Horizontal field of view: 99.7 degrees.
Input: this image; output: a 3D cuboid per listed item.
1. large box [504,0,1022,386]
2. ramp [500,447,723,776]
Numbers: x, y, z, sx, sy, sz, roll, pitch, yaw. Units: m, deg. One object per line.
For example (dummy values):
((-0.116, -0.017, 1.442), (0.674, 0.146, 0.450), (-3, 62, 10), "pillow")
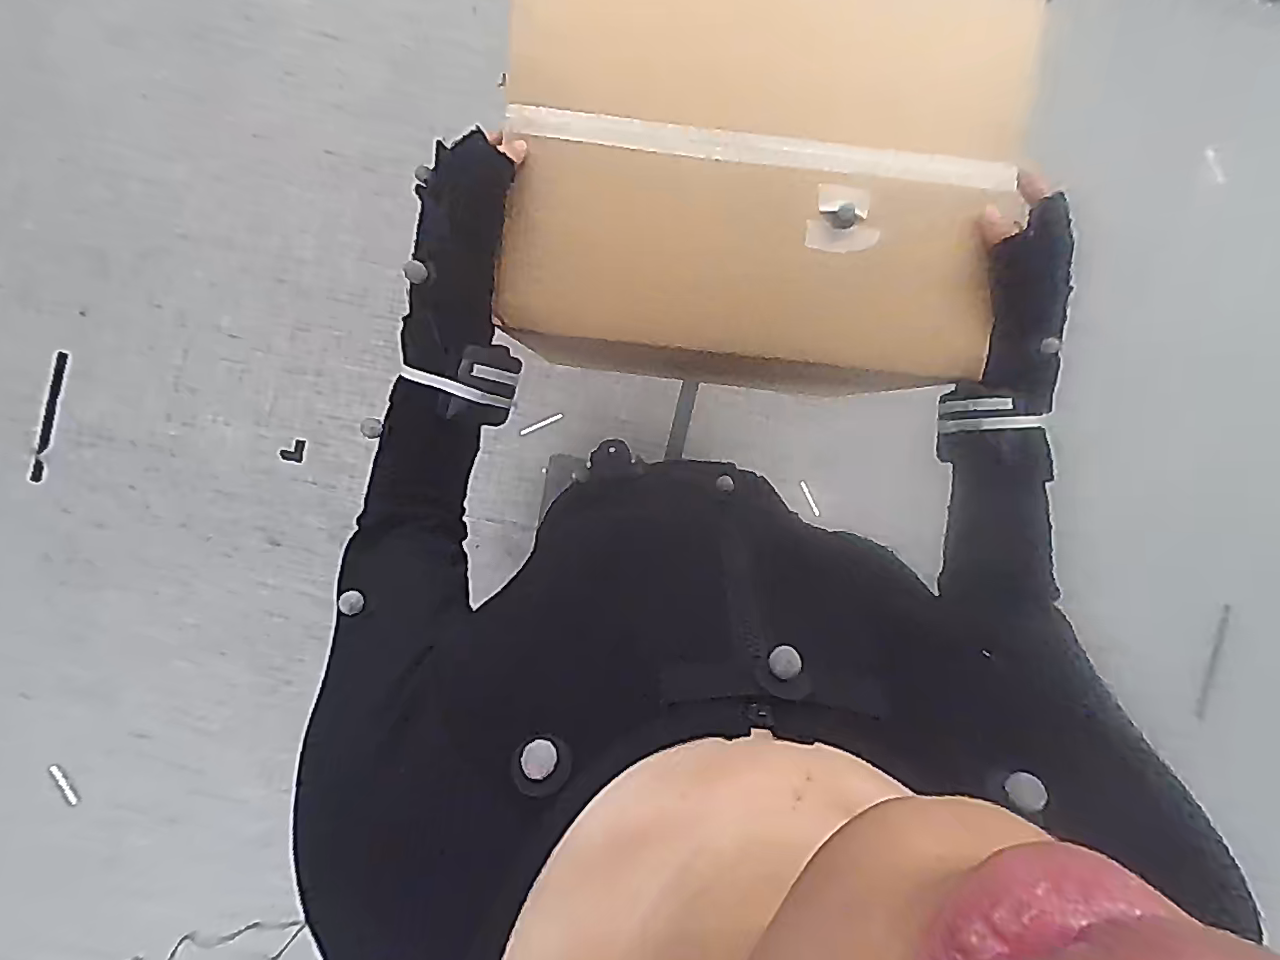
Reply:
((0.090, -0.282, 0.585), (0.408, 0.320, 0.320), (6, 97, -2), "large box")
((-0.103, 0.426, 1.604), (0.509, 0.206, 0.991), (10, 93, -3), "ramp")
